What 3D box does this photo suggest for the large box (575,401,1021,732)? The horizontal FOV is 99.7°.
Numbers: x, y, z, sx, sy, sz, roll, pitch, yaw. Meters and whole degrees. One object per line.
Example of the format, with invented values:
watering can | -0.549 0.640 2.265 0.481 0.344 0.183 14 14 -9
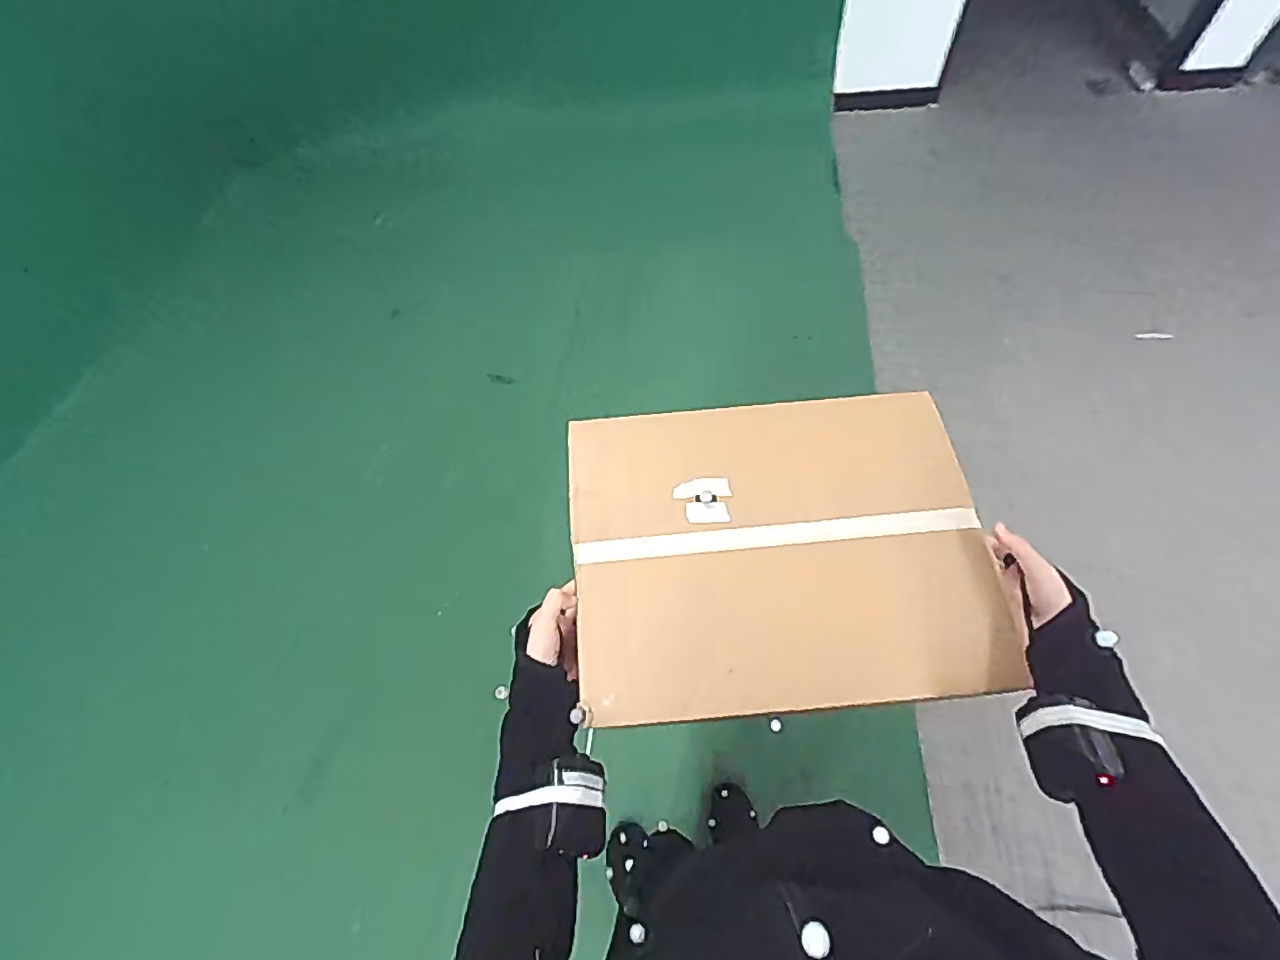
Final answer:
large box | 0.145 0.129 0.684 0.408 0.320 0.320 -5 65 1
